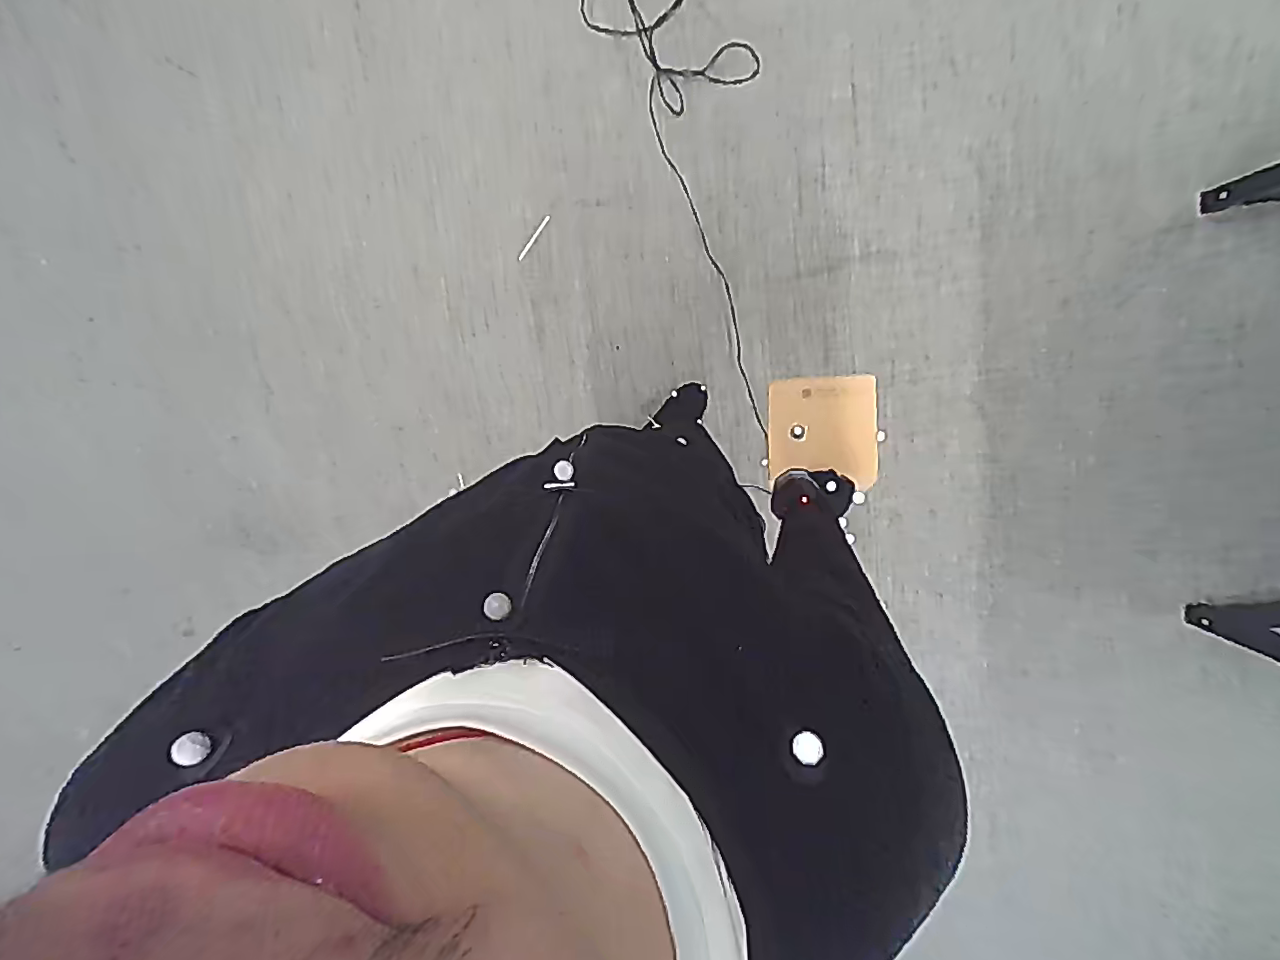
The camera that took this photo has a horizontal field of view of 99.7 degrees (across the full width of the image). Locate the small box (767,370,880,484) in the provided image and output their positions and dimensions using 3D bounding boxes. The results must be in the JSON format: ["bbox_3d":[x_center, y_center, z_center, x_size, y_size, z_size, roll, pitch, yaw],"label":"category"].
[{"bbox_3d":[0.307,-0.087,0.928,0.168,0.179,0.176,-1,84,16],"label":"small box"}]
